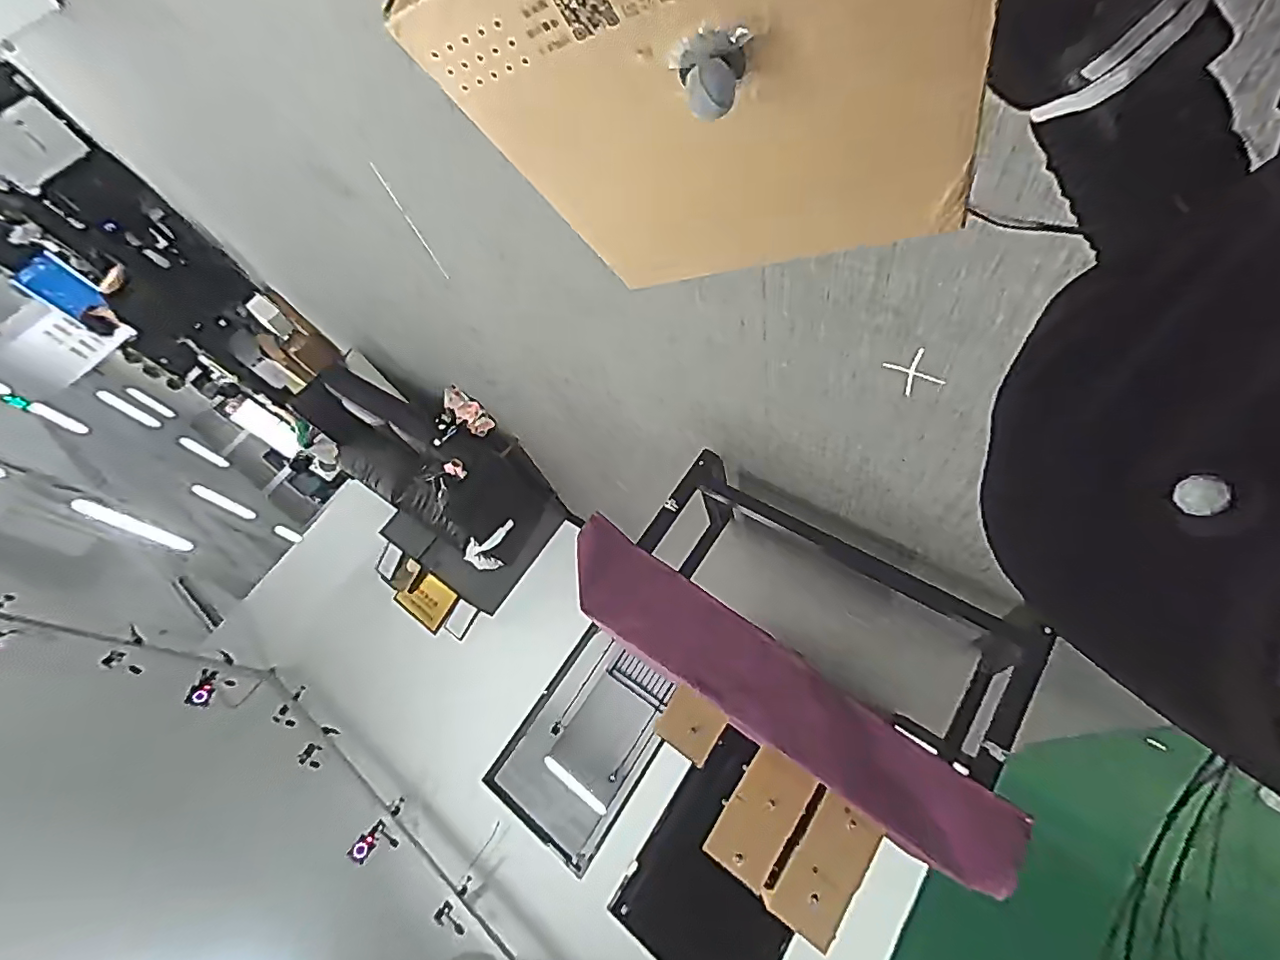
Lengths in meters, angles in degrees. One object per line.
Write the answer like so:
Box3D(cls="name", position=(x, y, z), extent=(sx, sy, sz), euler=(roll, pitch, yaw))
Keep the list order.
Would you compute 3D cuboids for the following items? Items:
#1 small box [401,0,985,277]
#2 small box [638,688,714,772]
Box3D(cls="small box", position=(0.034, -0.210, 0.204), extent=(0.168, 0.179, 0.176), euler=(0, 168, 25))
Box3D(cls="small box", position=(0.116, 0.767, 1.670), extent=(0.179, 0.176, 0.168), euler=(30, 161, 18))
